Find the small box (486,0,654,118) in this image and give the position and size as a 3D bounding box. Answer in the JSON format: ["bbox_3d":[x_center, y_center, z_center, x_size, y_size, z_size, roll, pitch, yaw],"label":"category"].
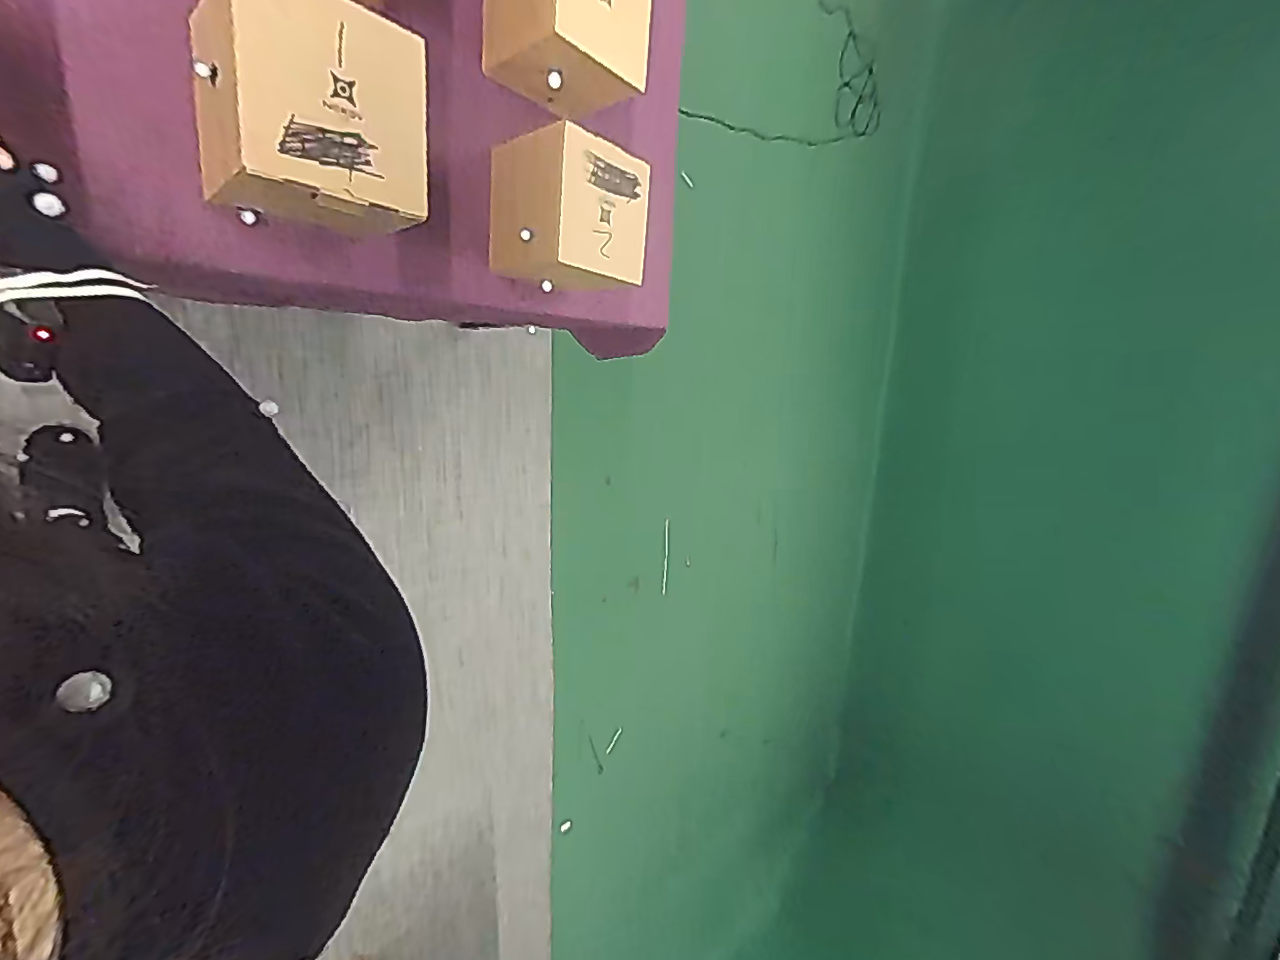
[{"bbox_3d":[-0.098,-0.645,0.750,0.168,0.176,0.179,-5,102,-46],"label":"small box"}]

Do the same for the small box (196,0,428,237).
[{"bbox_3d":[-0.335,-0.367,0.557,0.168,0.176,0.179,-8,104,-46],"label":"small box"}]
